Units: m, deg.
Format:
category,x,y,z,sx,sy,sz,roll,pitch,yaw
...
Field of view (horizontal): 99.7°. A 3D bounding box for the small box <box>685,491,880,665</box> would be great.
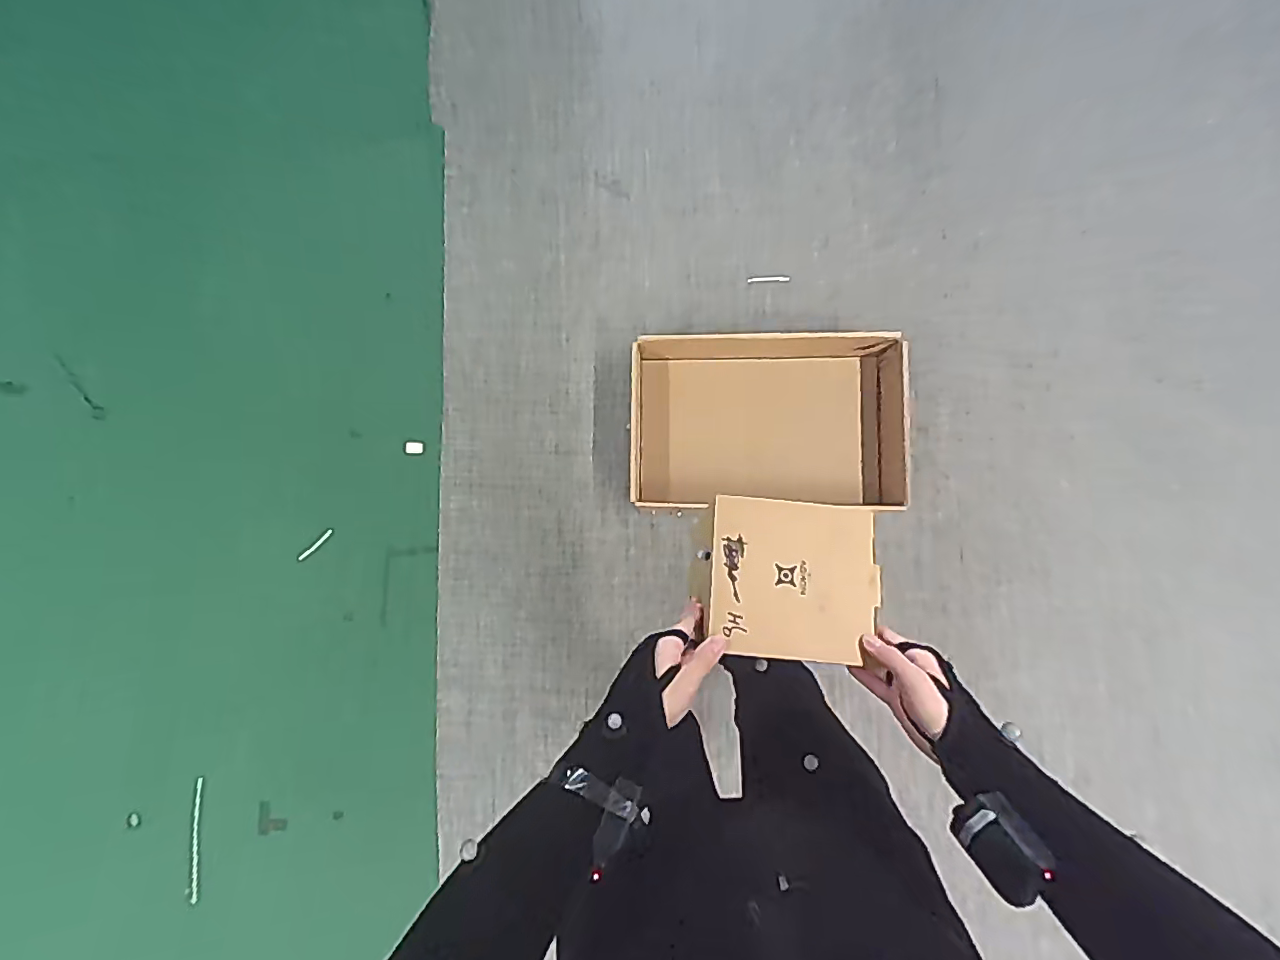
category,x,y,z,sx,sy,sz,roll,pitch,yaw
small box,0.157,0.120,0.636,0.179,0.176,0.168,6,73,-2
